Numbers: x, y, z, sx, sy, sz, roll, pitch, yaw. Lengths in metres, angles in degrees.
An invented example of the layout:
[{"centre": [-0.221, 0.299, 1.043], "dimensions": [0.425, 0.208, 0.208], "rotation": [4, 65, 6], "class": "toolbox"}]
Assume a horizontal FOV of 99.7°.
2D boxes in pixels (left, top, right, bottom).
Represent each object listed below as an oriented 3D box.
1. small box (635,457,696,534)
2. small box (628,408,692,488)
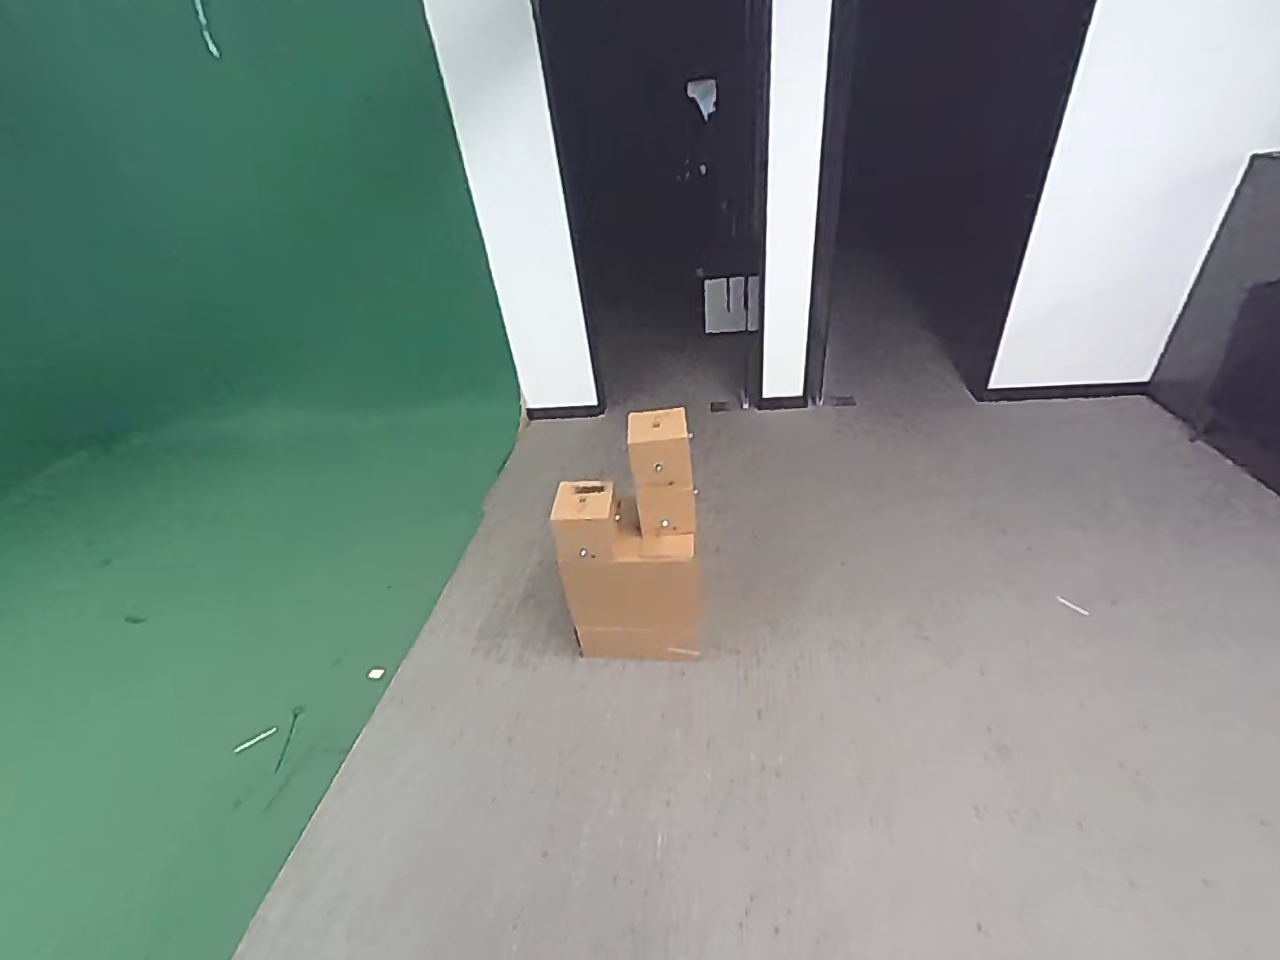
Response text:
[{"centre": [0.082, 0.046, 1.659], "dimensions": [0.168, 0.176, 0.179], "rotation": [-5, 36, 7], "class": "small box"}, {"centre": [0.060, -0.088, 1.566], "dimensions": [0.168, 0.176, 0.179], "rotation": [-5, 34, 5], "class": "small box"}]
